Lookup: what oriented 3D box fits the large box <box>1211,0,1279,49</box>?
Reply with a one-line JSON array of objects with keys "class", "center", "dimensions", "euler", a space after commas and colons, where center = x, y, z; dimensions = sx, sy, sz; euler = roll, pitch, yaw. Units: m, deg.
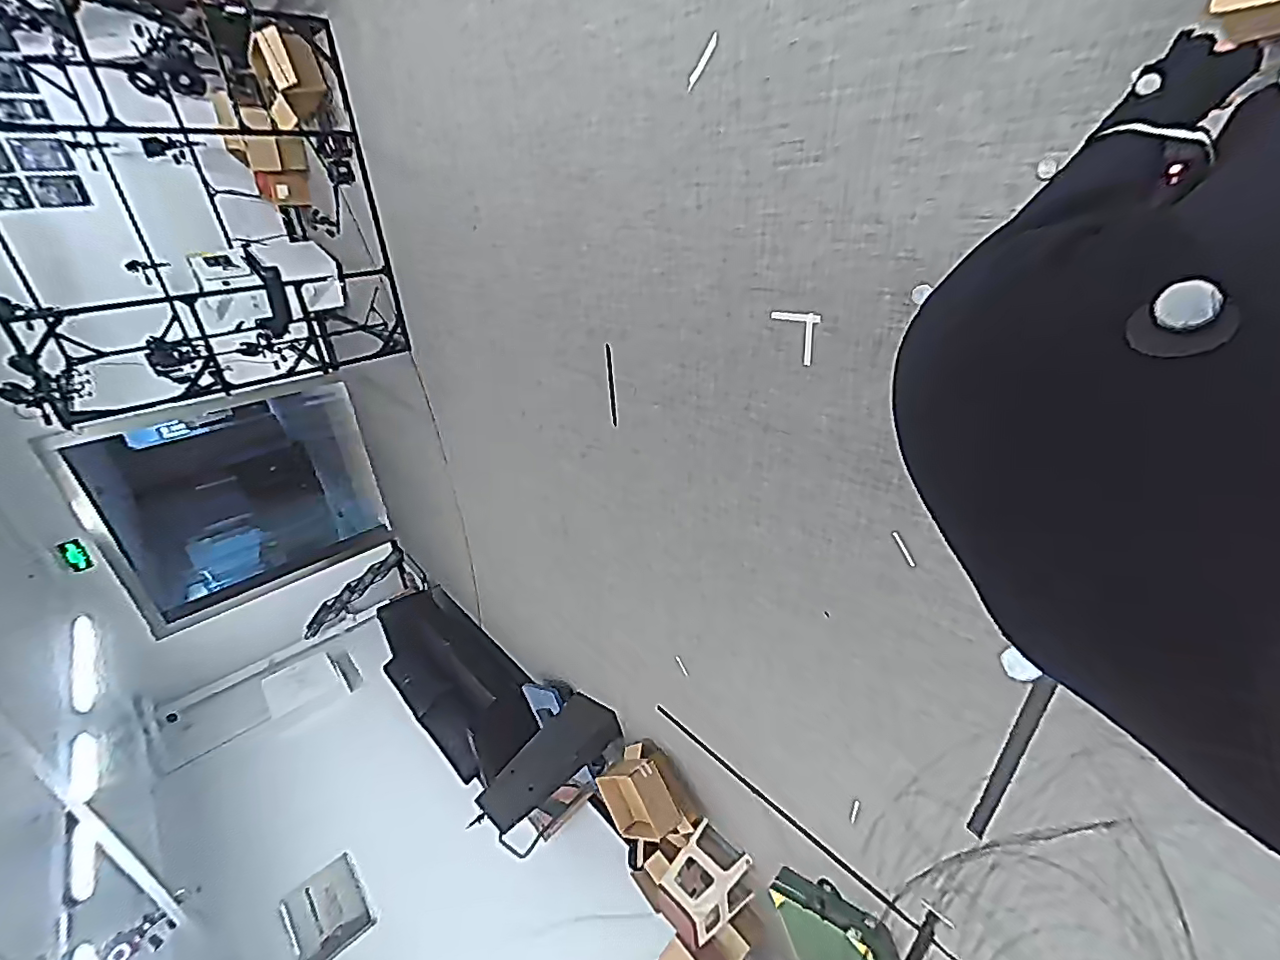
[{"class": "large box", "center": [1.001, -0.750, 0.618], "dimensions": [0.408, 0.320, 0.320], "euler": [24, 128, 43]}]
